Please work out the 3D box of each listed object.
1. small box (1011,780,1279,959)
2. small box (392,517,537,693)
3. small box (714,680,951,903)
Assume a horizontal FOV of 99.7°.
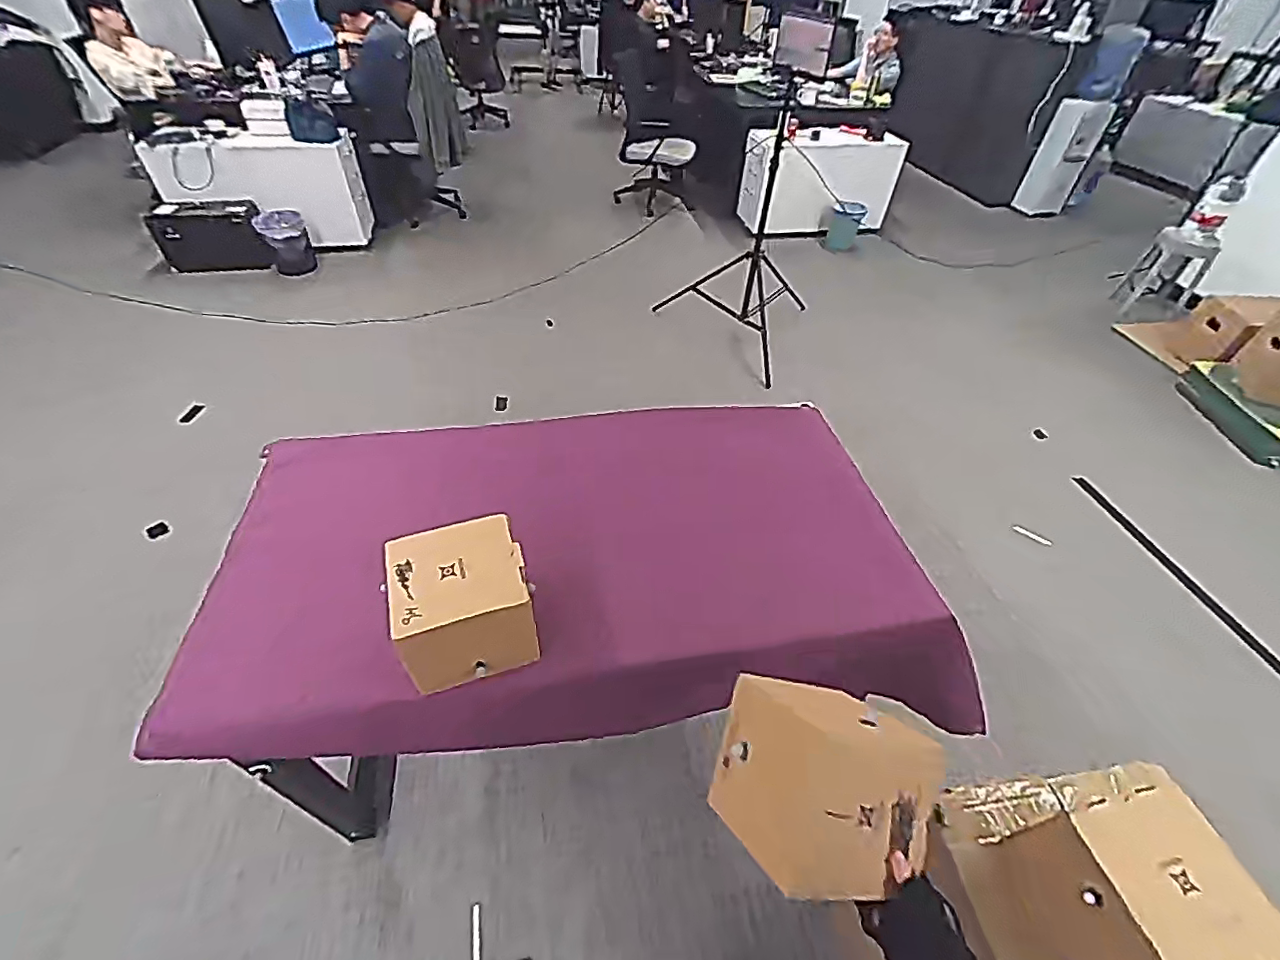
[{"bbox_3d":[0.618,0.507,0.673,0.168,0.176,0.179,-9,48,-8],"label":"small box"},{"bbox_3d":[-0.254,0.185,0.804,0.179,0.176,0.168,-13,46,-17],"label":"small box"},{"bbox_3d":[0.216,0.351,0.635,0.179,0.176,0.168,17,84,-19],"label":"small box"}]
